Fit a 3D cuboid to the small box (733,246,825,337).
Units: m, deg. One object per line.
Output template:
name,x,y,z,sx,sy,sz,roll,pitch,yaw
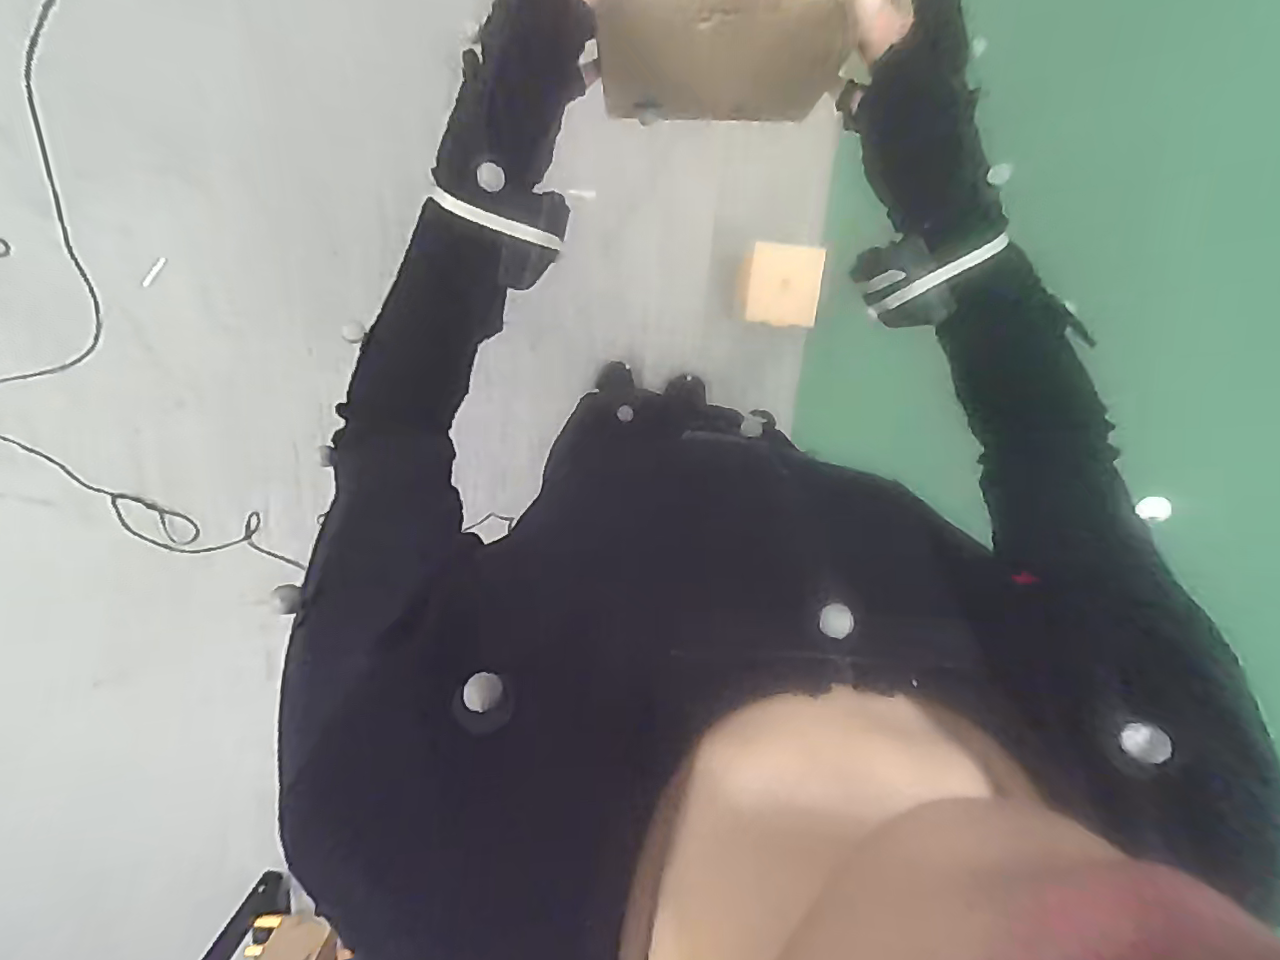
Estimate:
small box,0.329,-0.450,1.312,0.168,0.176,0.179,5,102,-1
